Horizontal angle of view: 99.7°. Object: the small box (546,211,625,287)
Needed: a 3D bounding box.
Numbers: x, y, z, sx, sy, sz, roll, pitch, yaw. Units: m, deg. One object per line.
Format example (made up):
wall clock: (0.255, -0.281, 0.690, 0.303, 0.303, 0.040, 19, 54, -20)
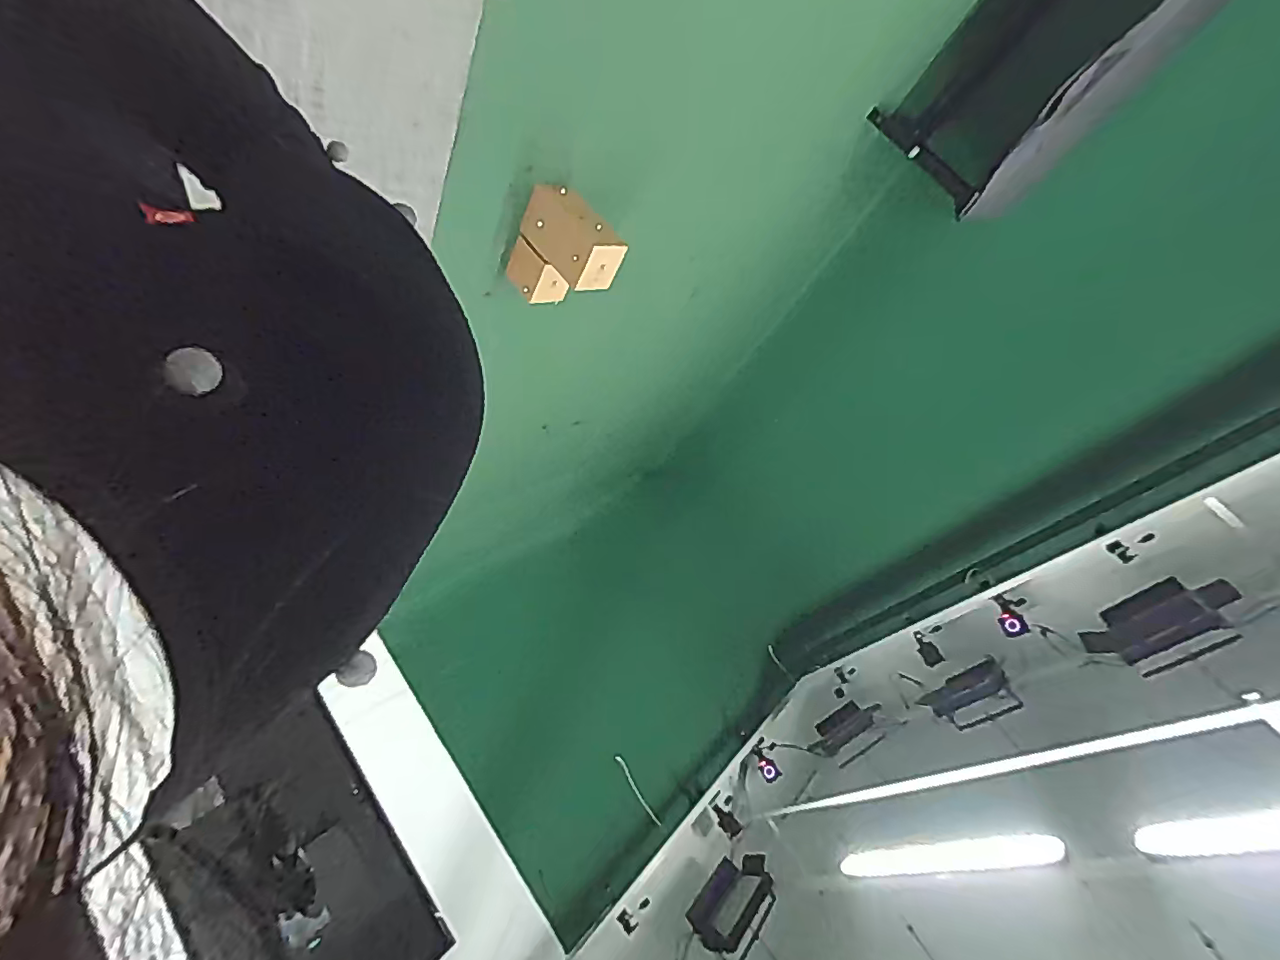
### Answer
small box: (-0.189, -0.780, 1.826, 0.168, 0.176, 0.179, -24, 160, -45)
